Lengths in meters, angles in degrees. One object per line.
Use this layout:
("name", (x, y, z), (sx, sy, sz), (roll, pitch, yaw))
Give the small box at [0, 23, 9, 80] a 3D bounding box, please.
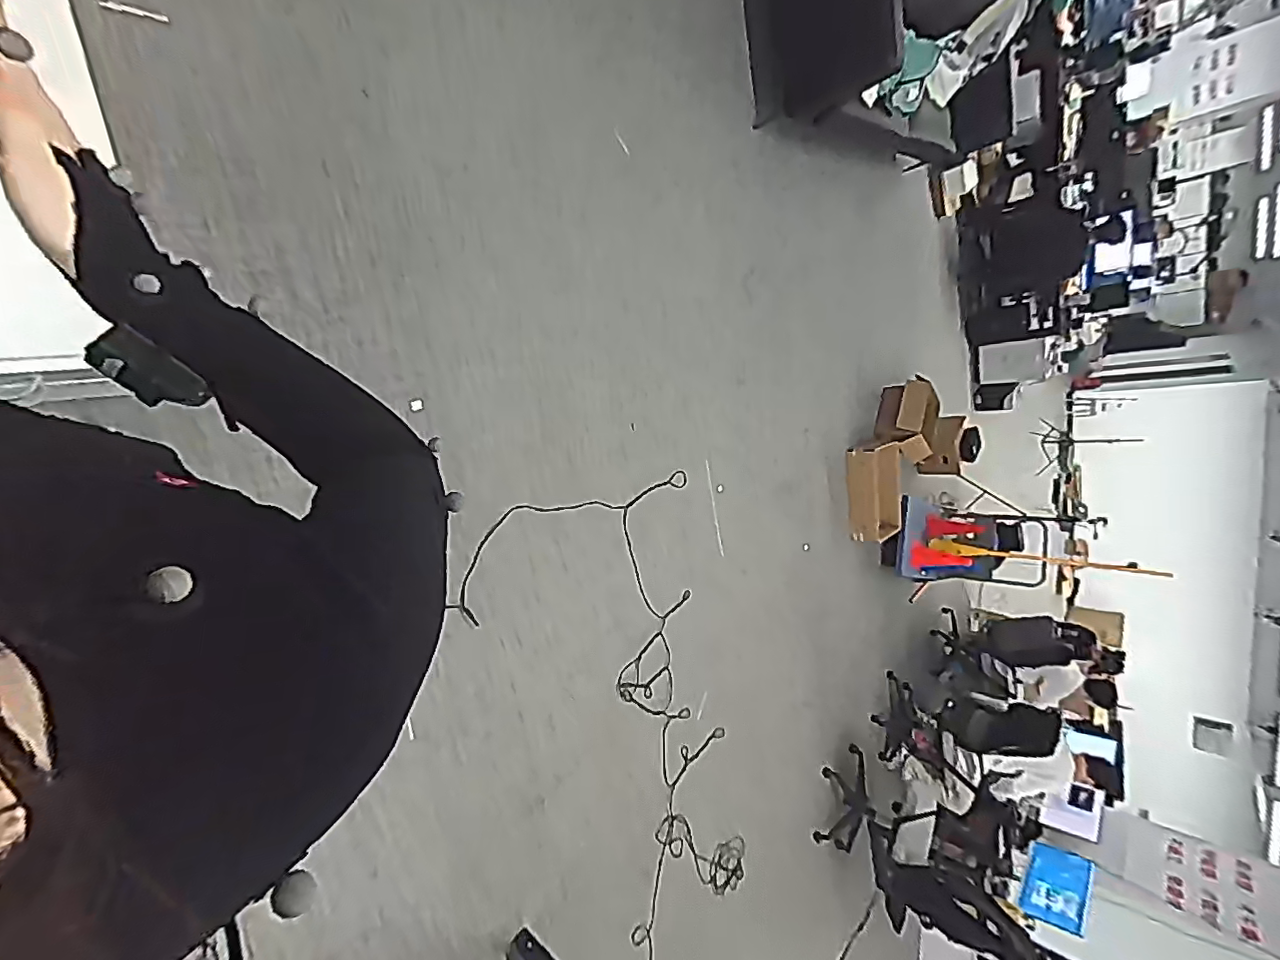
("small box", (-0.728, -0.510, 0.491), (0.179, 0.176, 0.168), (-9, 98, -45))
